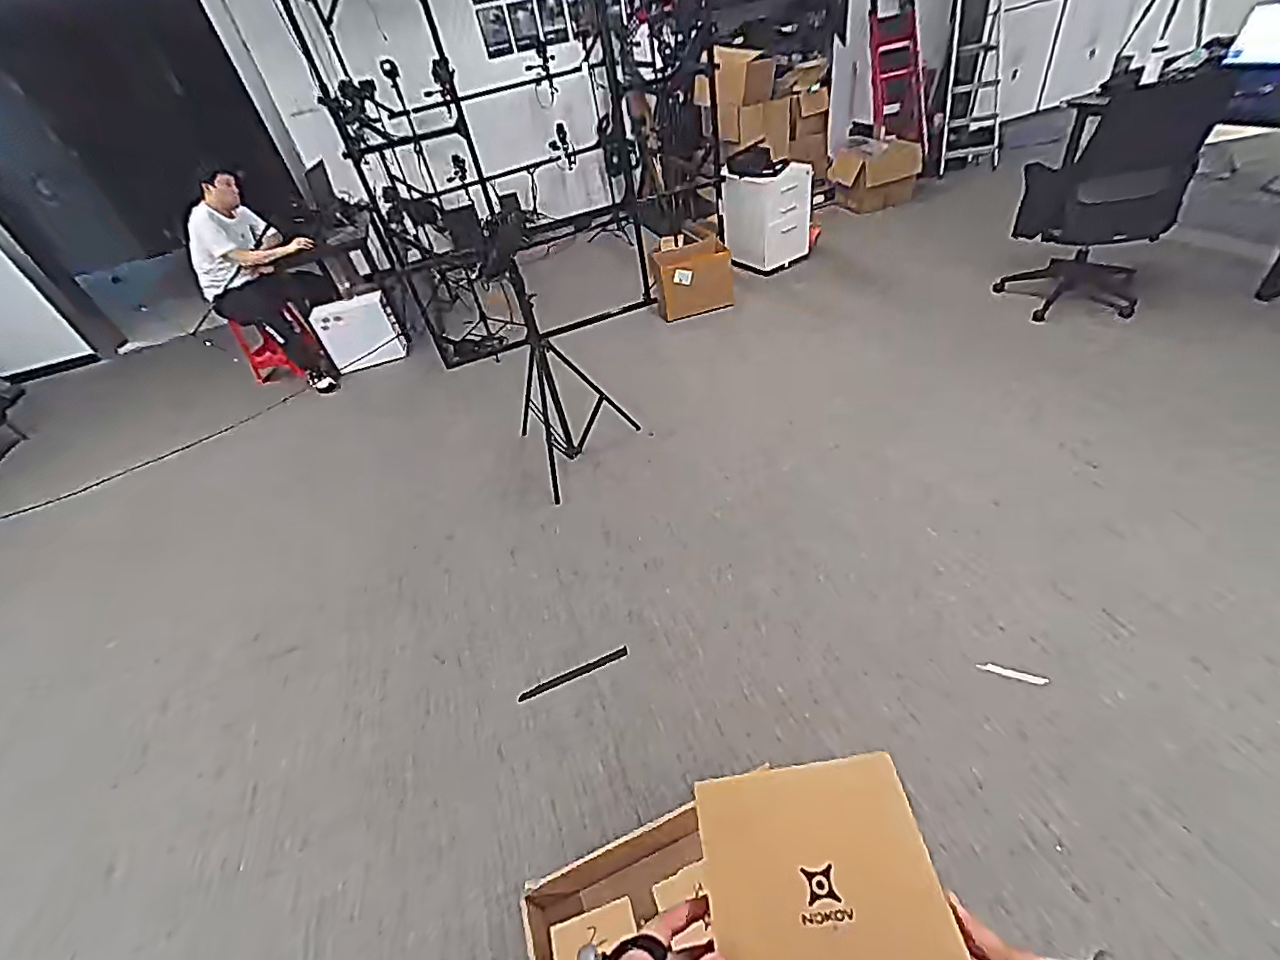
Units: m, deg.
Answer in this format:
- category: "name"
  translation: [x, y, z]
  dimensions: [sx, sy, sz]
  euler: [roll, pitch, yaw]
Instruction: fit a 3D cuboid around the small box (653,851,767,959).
- category: "small box"
  translation: [0.144, 0.897, 1.088]
  dimensions: [0.168, 0.176, 0.179]
  euler: [-22, 41, -11]
